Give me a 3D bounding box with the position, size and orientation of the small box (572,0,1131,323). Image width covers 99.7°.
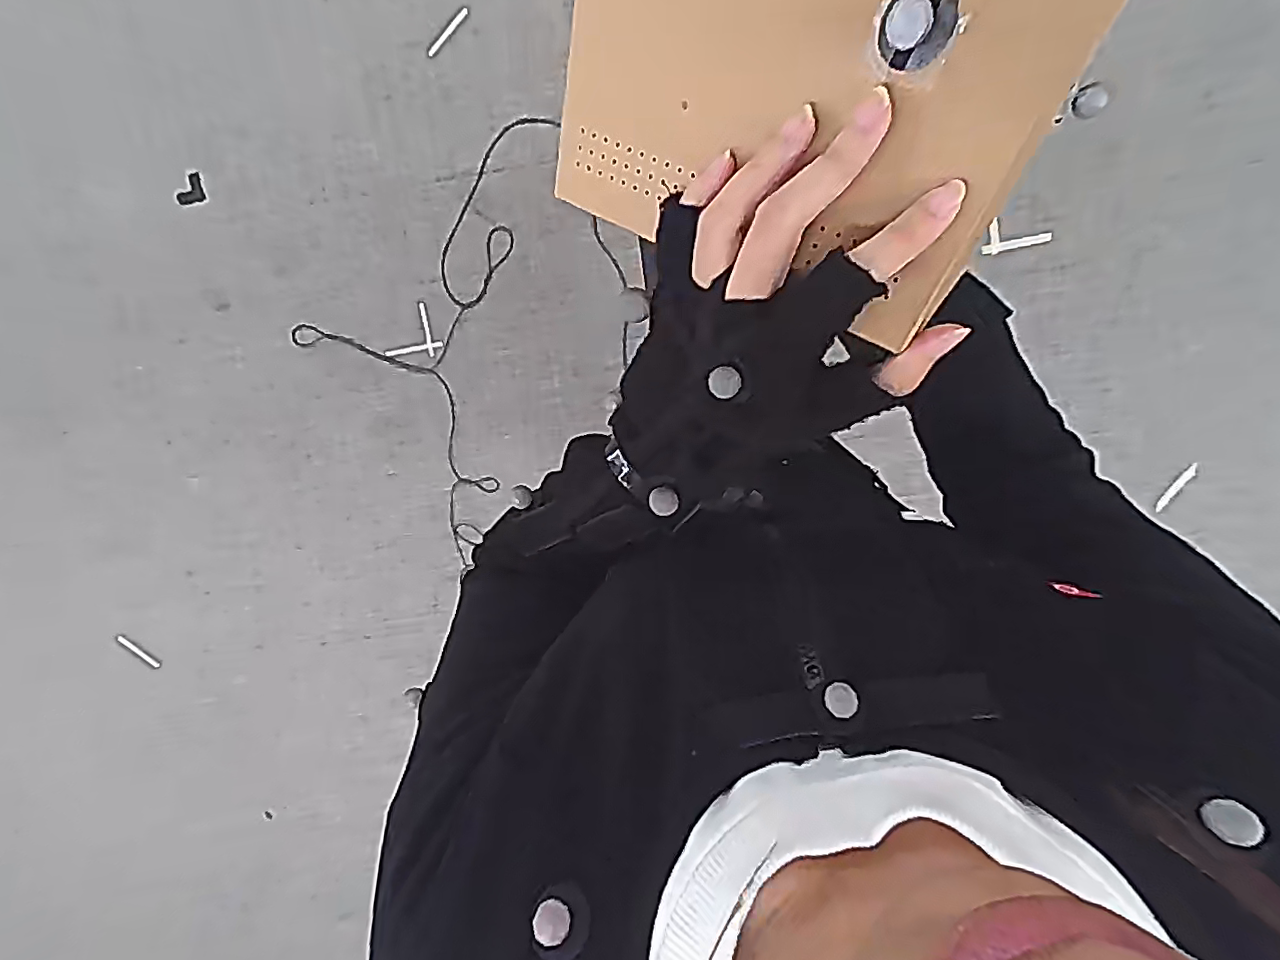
[{"bbox_3d":[0.092,-0.186,0.241,0.179,0.168,0.176,32,132,18],"label":"small box"}]
